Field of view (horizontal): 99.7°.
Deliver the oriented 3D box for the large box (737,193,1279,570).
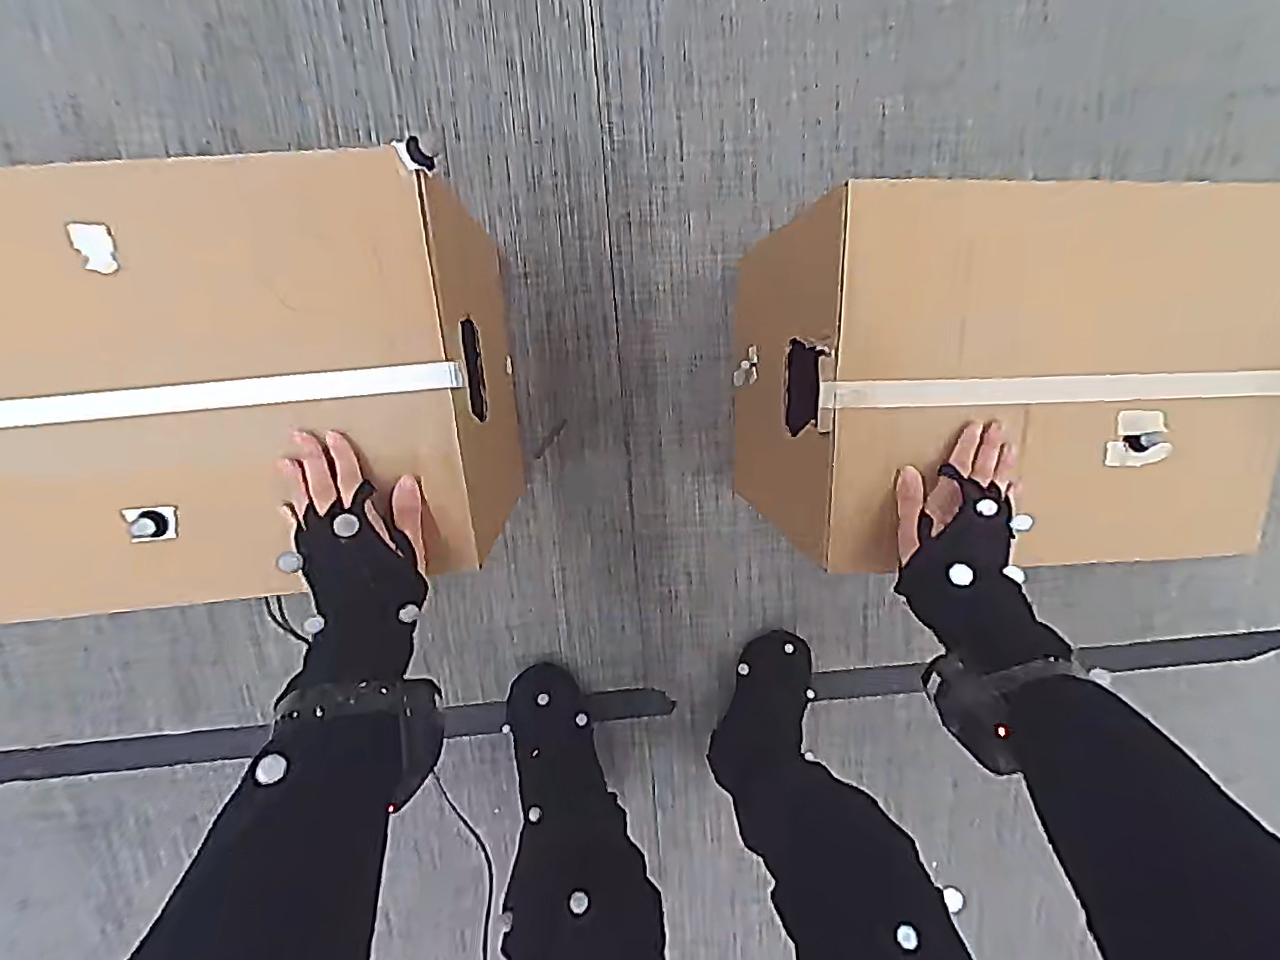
[{"bbox_3d":[0.342,-0.108,0.610,0.408,0.320,0.320,-2,103,-5],"label":"large box"}]
